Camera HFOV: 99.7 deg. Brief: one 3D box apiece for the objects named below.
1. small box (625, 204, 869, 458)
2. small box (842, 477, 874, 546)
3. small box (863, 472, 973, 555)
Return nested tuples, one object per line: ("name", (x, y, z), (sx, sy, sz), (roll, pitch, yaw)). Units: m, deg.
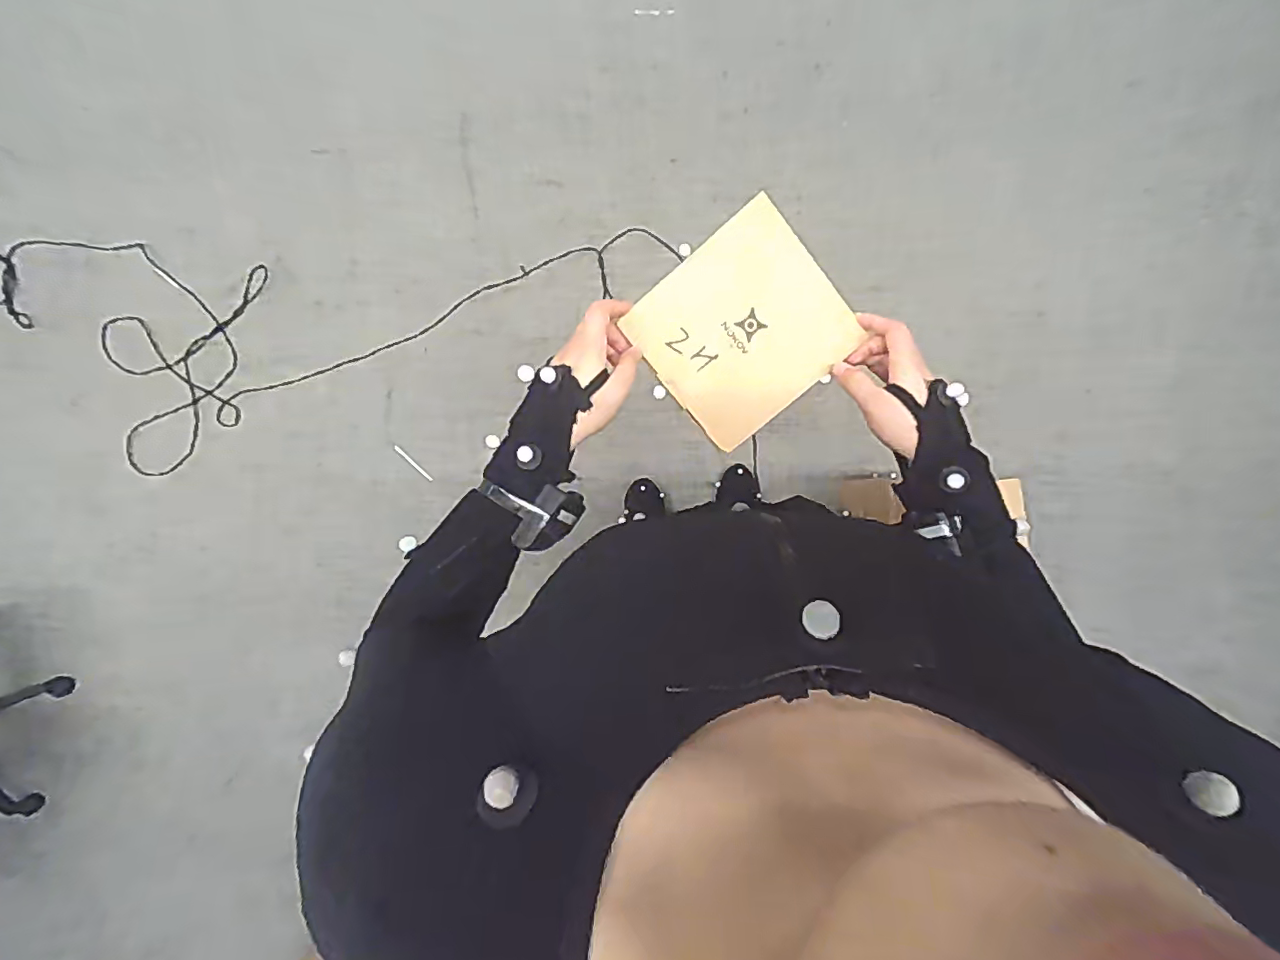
("small box", (0.100, -0.153, 0.583), (0.179, 0.176, 0.168), (-40, 100, 9))
("small box", (0.634, 0.078, 1.405), (0.179, 0.176, 0.168), (-3, 92, 3))
("small box", (0.626, 0.073, 1.242), (0.179, 0.176, 0.168), (-6, 93, 1))
